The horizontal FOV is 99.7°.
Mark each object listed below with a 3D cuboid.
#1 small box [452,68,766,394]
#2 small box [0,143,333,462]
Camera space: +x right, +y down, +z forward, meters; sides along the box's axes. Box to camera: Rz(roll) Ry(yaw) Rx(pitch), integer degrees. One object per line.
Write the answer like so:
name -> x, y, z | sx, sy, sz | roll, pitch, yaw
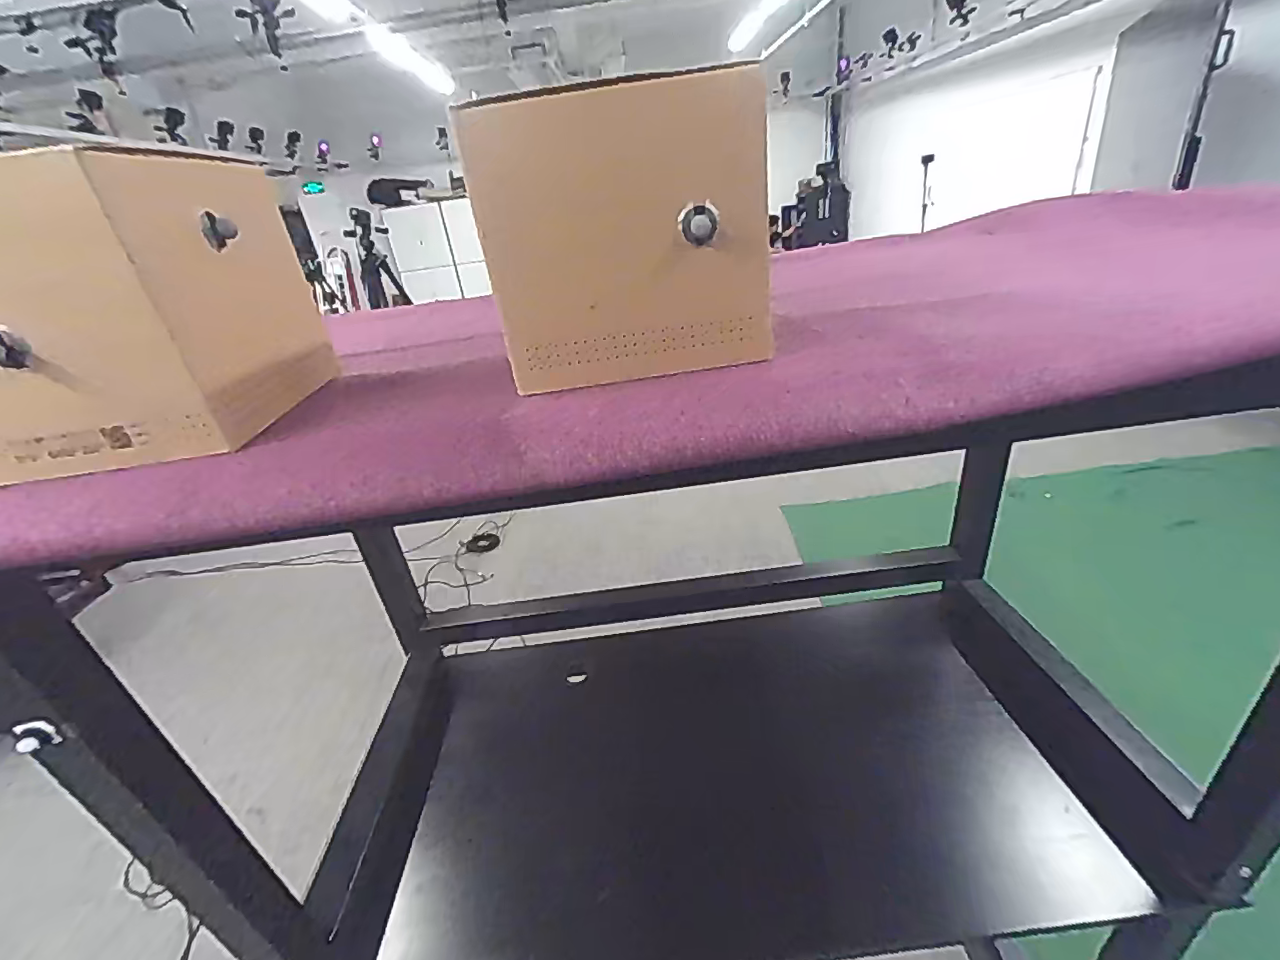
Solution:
small box -> -0.012, -0.176, 0.402 | 0.179, 0.176, 0.168 | -9, 27, 0
small box -> -0.349, -0.119, 0.376 | 0.168, 0.176, 0.179 | -8, 28, -2
